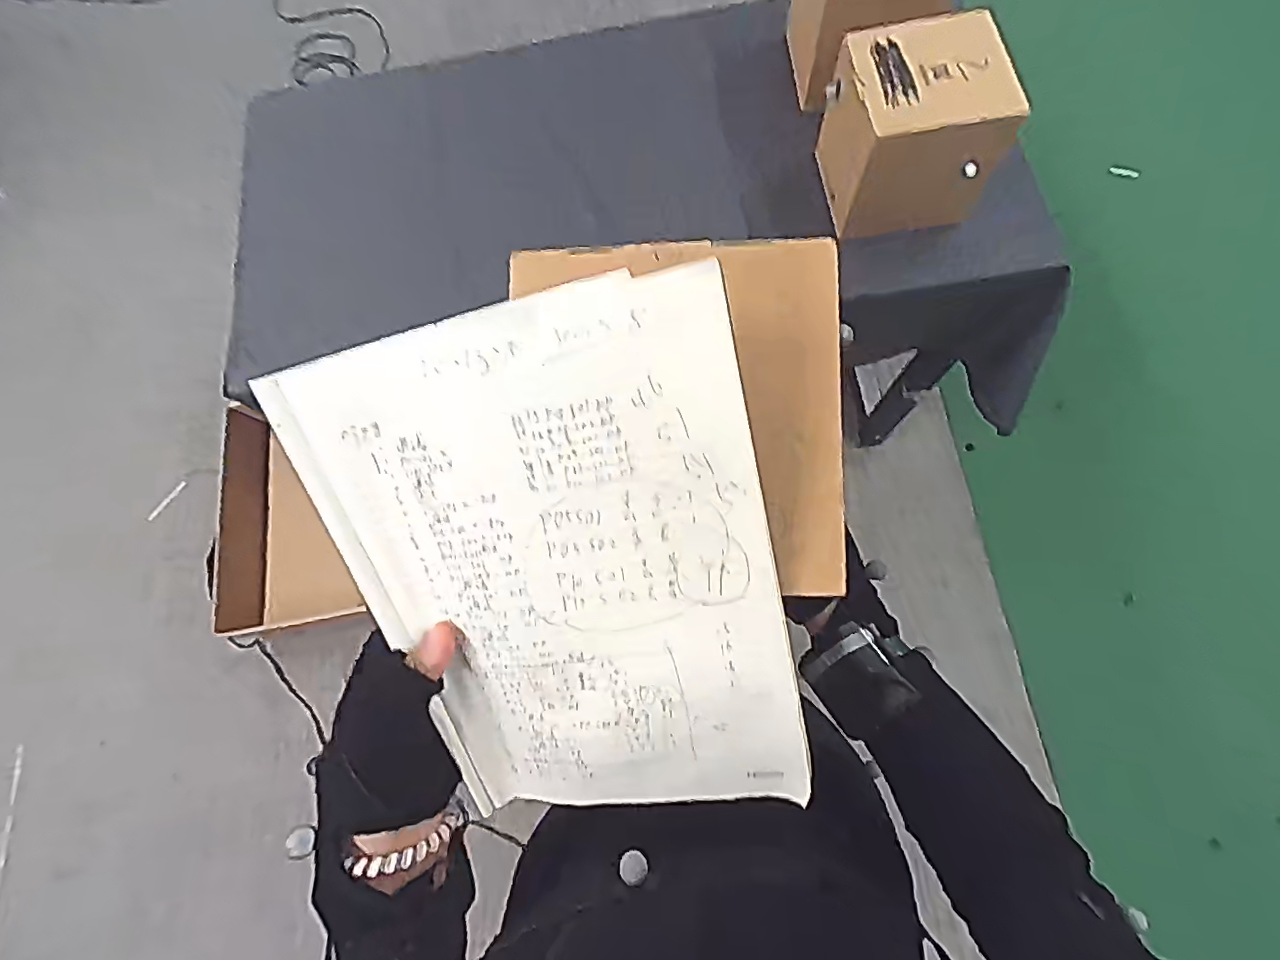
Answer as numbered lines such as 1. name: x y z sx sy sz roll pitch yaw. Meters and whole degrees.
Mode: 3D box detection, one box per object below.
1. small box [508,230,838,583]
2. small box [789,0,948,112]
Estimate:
1. small box: 0.022 -0.032 0.349 0.168 0.176 0.179 -1 85 5
2. small box: 0.319 -0.681 0.783 0.168 0.176 0.179 -5 74 5
